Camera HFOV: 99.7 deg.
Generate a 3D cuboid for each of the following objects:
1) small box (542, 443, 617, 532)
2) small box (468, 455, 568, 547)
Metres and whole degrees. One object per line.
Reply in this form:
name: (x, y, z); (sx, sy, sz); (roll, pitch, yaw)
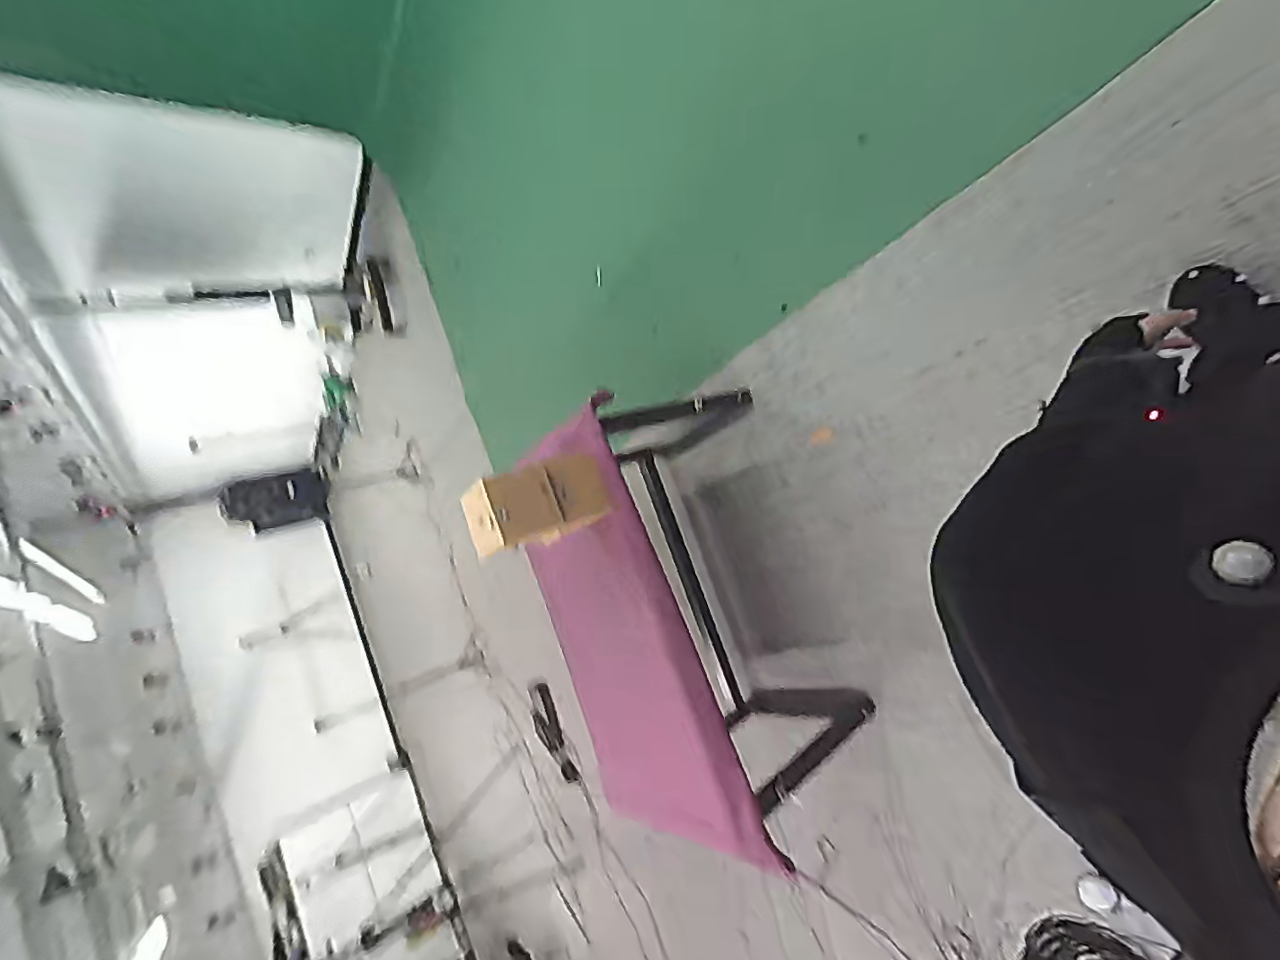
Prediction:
small box: (-0.189, 0.018, 1.461); (0.168, 0.176, 0.179); (-32, 78, 51)
small box: (-0.303, 0.053, 1.347); (0.179, 0.176, 0.168); (-29, 81, 52)
